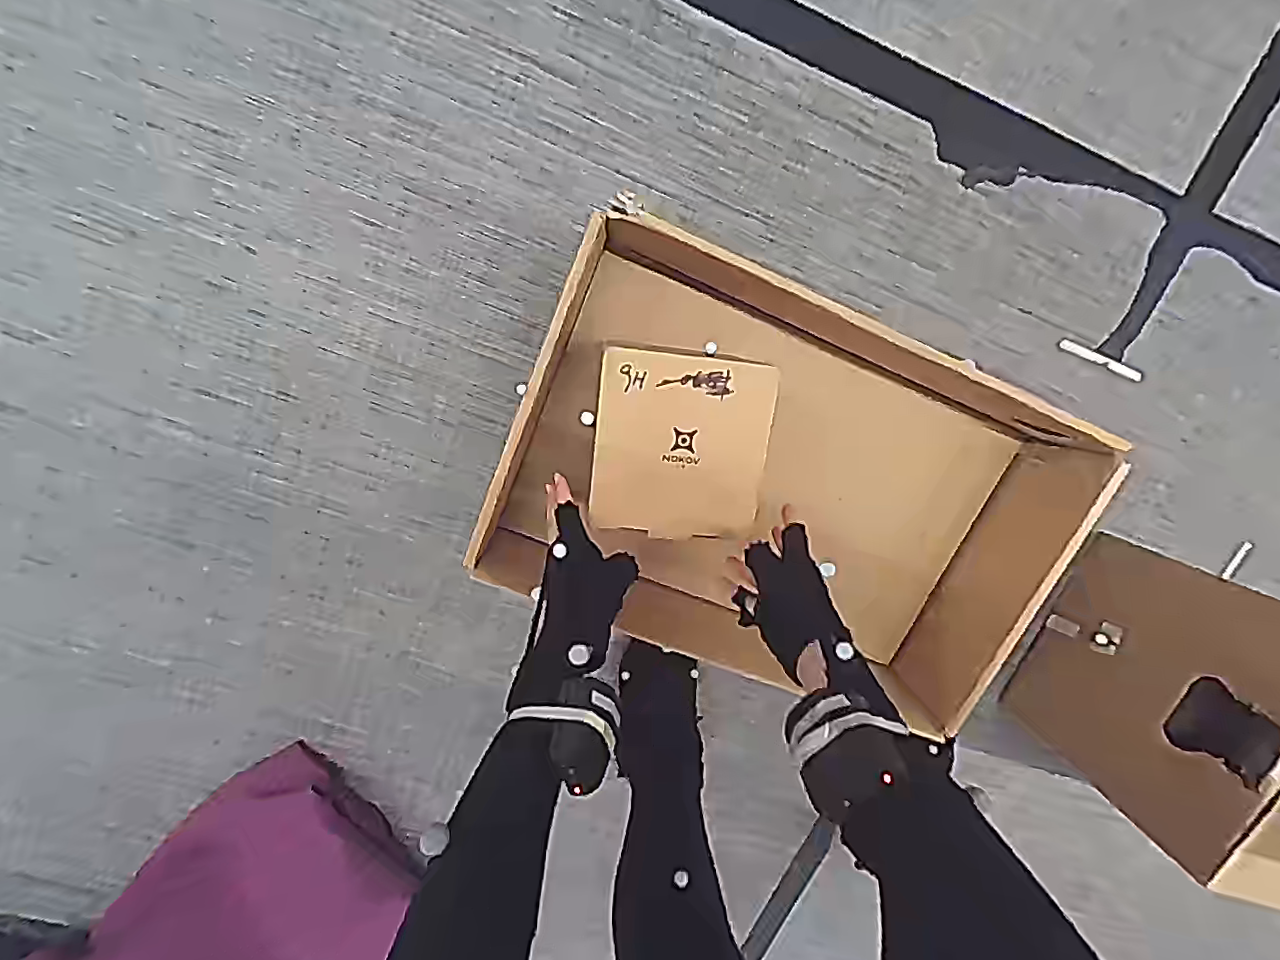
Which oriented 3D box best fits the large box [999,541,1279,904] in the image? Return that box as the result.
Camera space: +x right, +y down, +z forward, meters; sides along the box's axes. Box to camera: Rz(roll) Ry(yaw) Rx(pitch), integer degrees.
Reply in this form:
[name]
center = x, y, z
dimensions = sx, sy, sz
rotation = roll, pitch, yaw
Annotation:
[large box]
center = 0.817, 0.320, 0.730
dimensions = 0.408, 0.320, 0.320
rotation = 19, 103, -10
